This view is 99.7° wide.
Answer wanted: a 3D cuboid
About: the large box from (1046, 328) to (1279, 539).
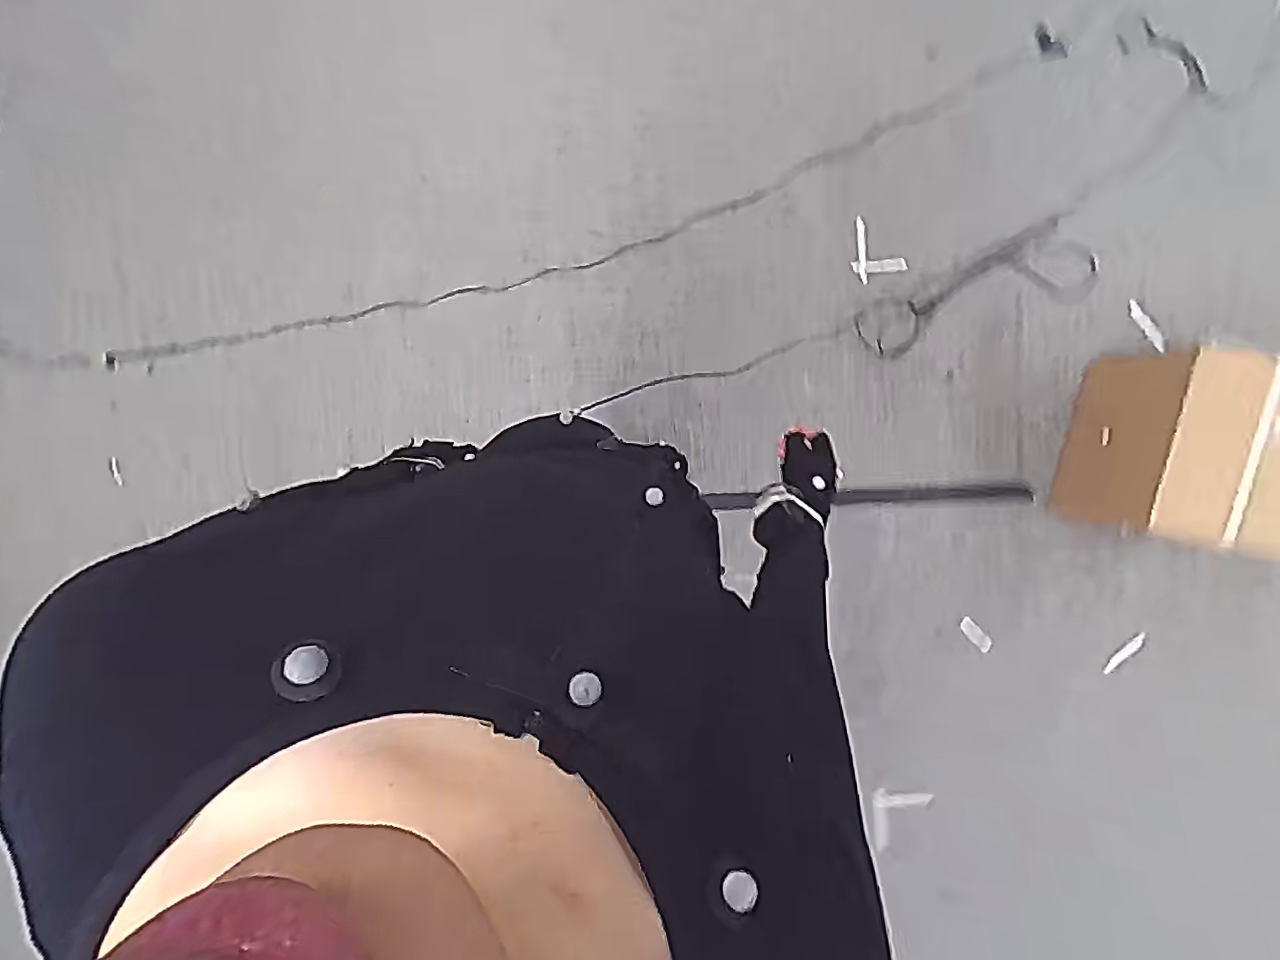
[{"bbox_3d":[1.253,-0.103,1.277,0.320,0.320,0.408,11,95,1],"label":"large box"}]
